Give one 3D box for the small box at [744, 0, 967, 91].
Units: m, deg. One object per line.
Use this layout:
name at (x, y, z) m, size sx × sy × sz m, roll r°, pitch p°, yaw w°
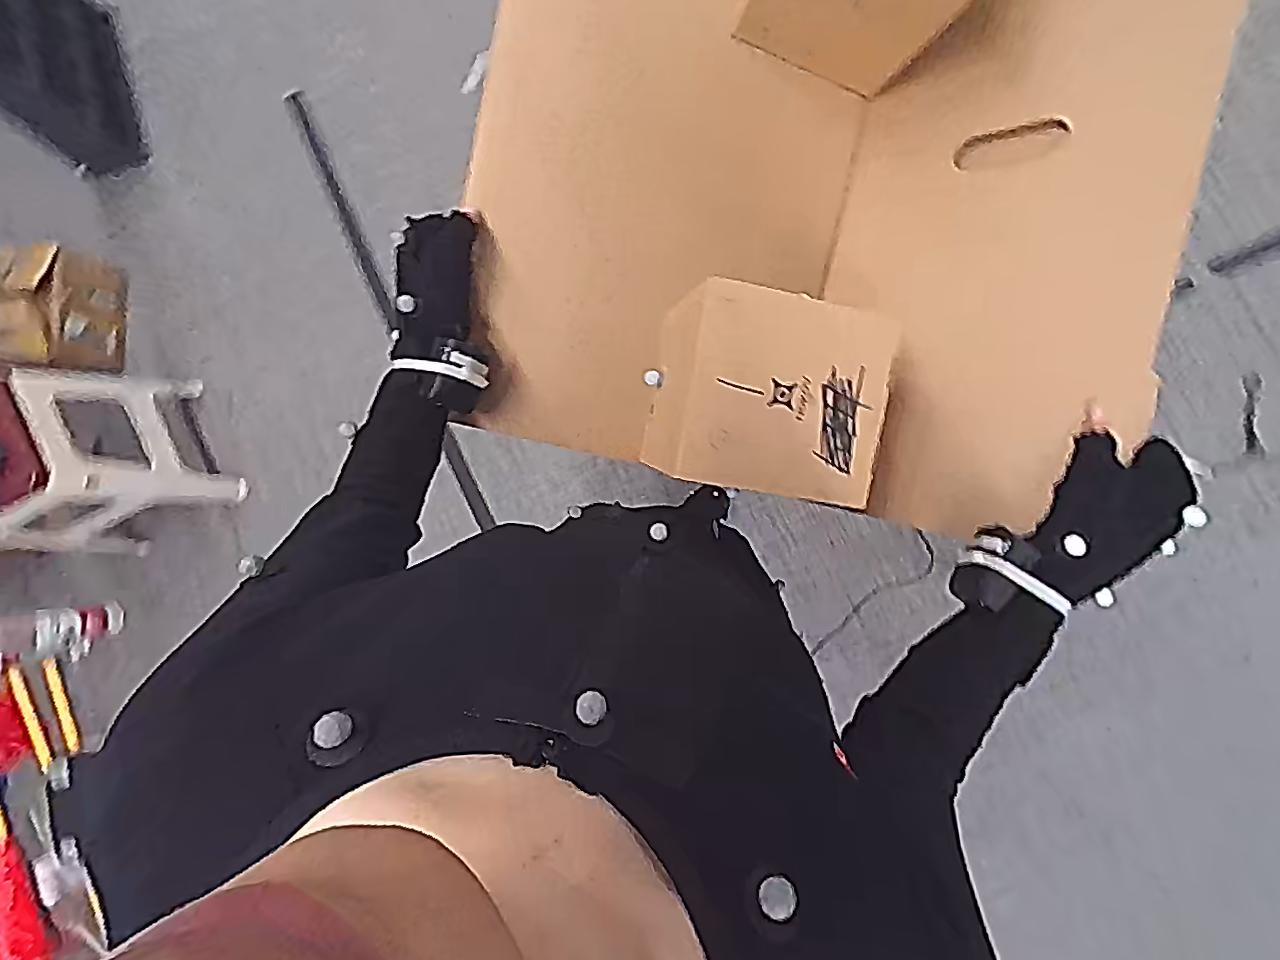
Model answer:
small box at (0.219, -0.512, 0.500) m, size 0.179 × 0.176 × 0.168 m, roll 16°, pitch 93°, yaw -12°
